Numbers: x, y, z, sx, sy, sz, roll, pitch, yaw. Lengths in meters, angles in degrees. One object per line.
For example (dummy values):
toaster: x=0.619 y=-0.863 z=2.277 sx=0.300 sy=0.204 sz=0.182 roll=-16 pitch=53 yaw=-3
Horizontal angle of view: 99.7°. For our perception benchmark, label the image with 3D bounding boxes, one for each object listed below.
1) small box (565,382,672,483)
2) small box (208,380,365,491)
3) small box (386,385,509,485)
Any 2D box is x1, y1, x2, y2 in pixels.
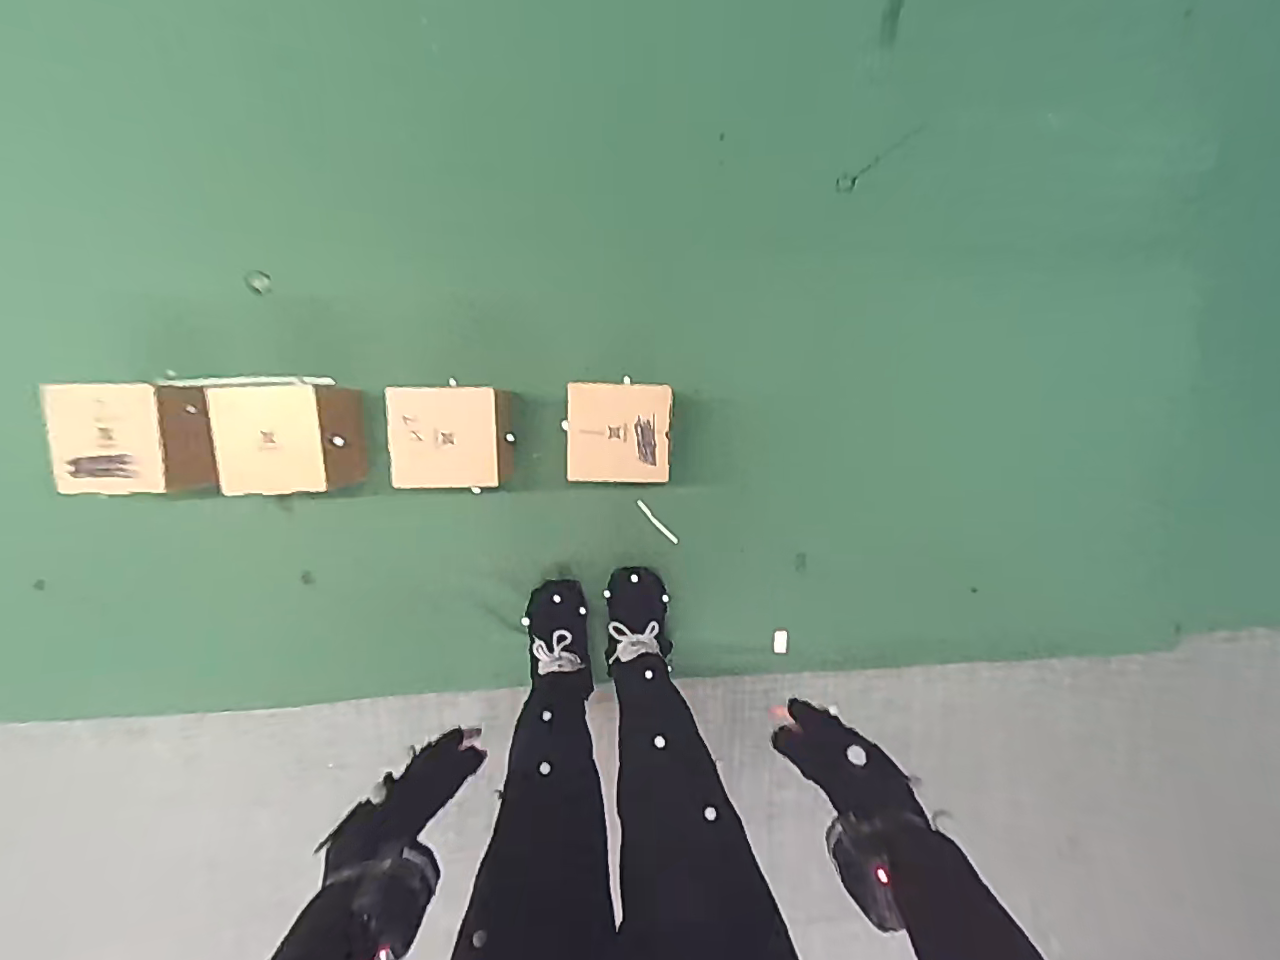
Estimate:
small box: x=-0.042 y=-0.091 z=0.987 sx=0.179 sy=0.176 sz=0.168 roll=2 pitch=98 yaw=-3
small box: x=-0.605 y=-0.082 z=0.948 sx=0.168 sy=0.176 sz=0.179 roll=-3 pitch=99 yaw=-4
small box: x=-0.330 y=-0.084 z=0.966 sx=0.179 sy=0.176 sz=0.168 roll=0 pitch=98 yaw=-5
